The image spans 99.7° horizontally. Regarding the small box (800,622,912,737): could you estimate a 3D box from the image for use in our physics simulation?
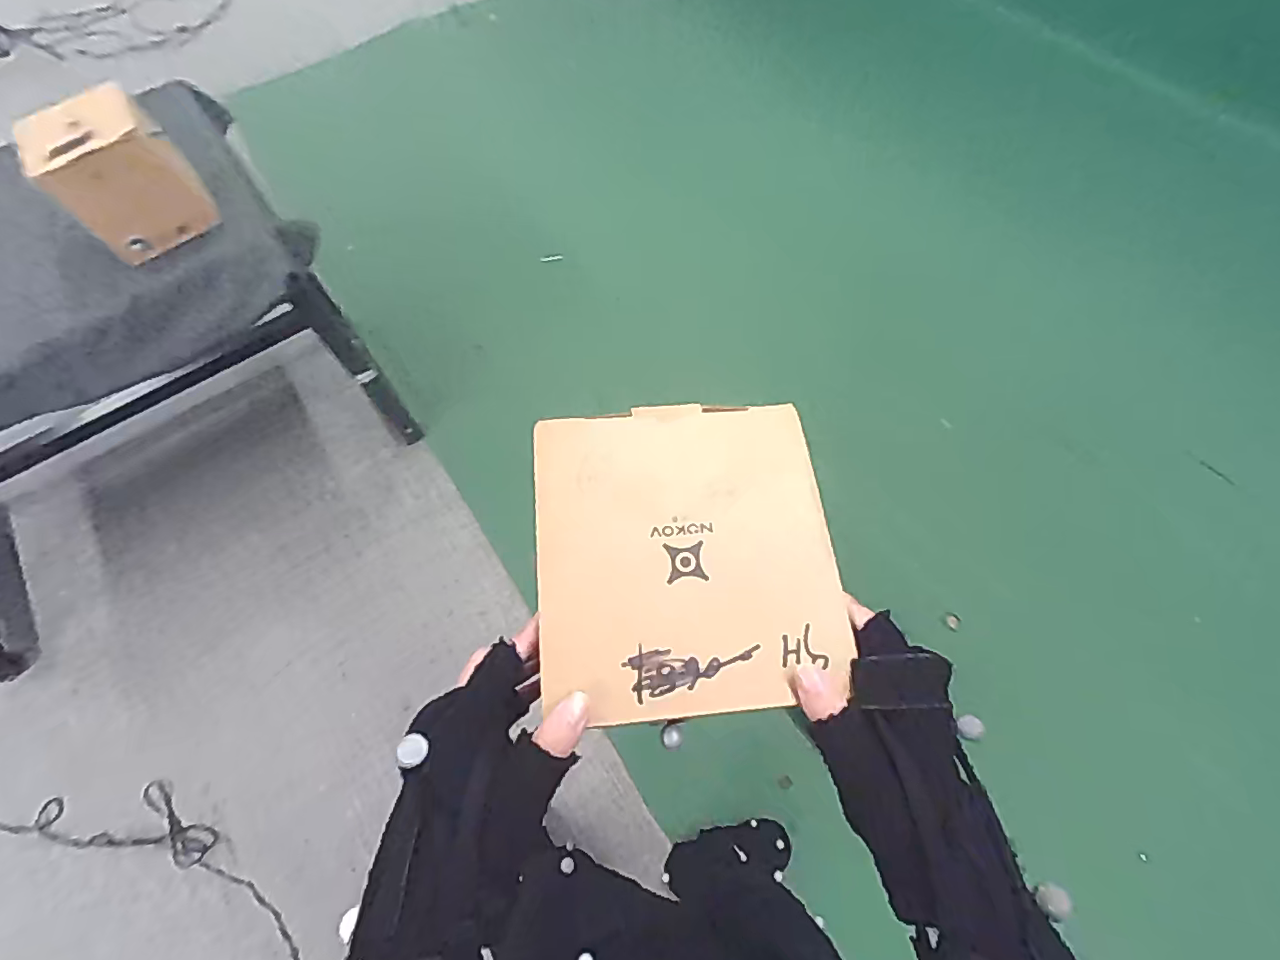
[{"bbox_3d":[0.455,0.445,1.202,0.179,0.176,0.168,-33,66,-11],"label":"small box"}]

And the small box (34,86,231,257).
[{"bbox_3d":[-0.845,-0.510,0.916,0.168,0.176,0.179,-34,66,-10],"label":"small box"}]

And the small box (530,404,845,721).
[{"bbox_3d":[0.015,0.067,0.381,0.168,0.176,0.179,-5,66,-4],"label":"small box"}]
